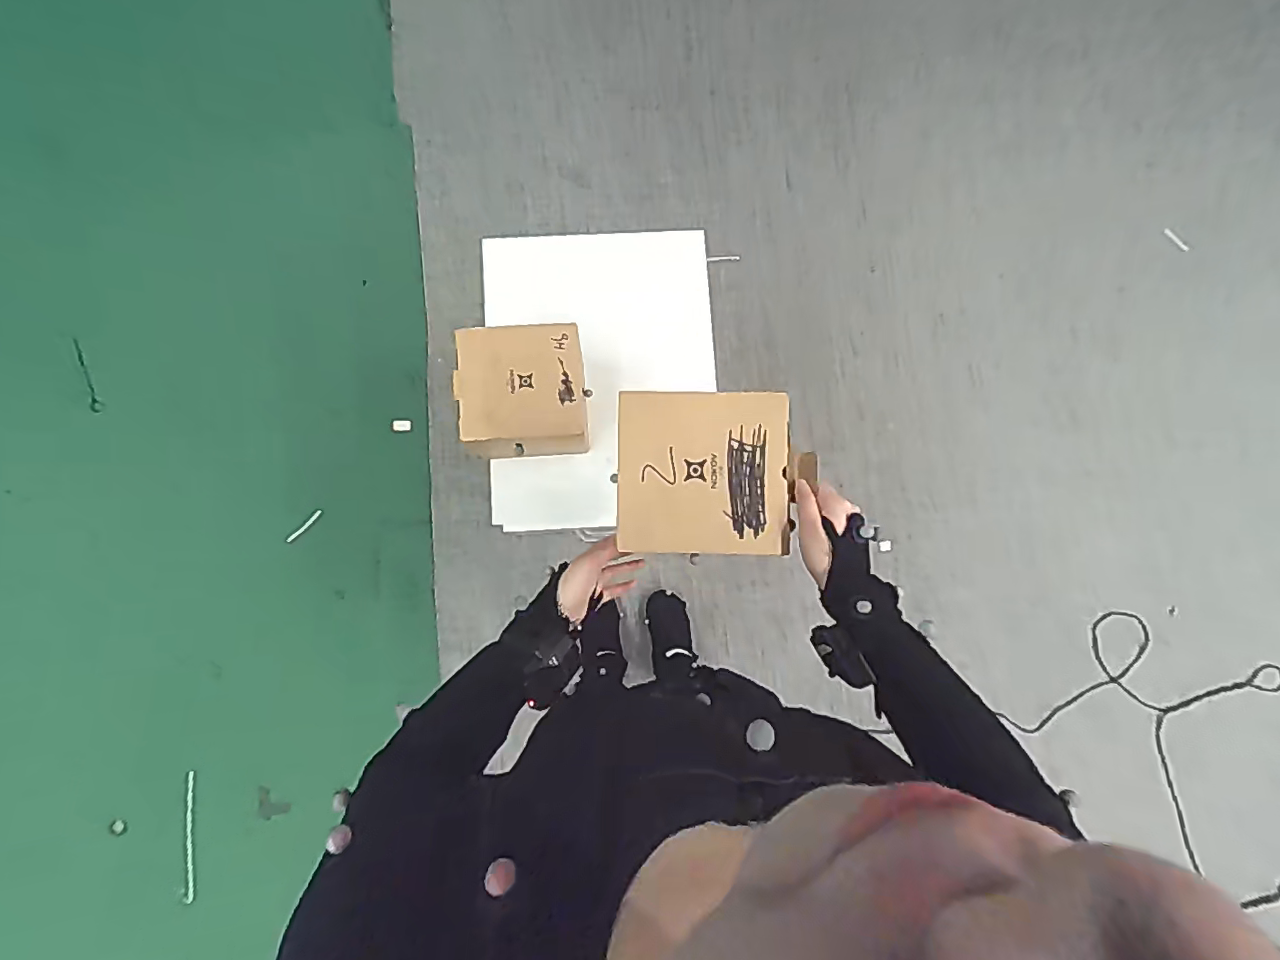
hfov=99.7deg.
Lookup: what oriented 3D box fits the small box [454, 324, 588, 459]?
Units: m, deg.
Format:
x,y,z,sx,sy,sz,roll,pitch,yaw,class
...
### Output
x,y,z,sx,sy,sz,roll,pitch,yaw,class
-0.176,-0.129,0.839,0.179,0.176,0.168,-4,83,-4,small box
